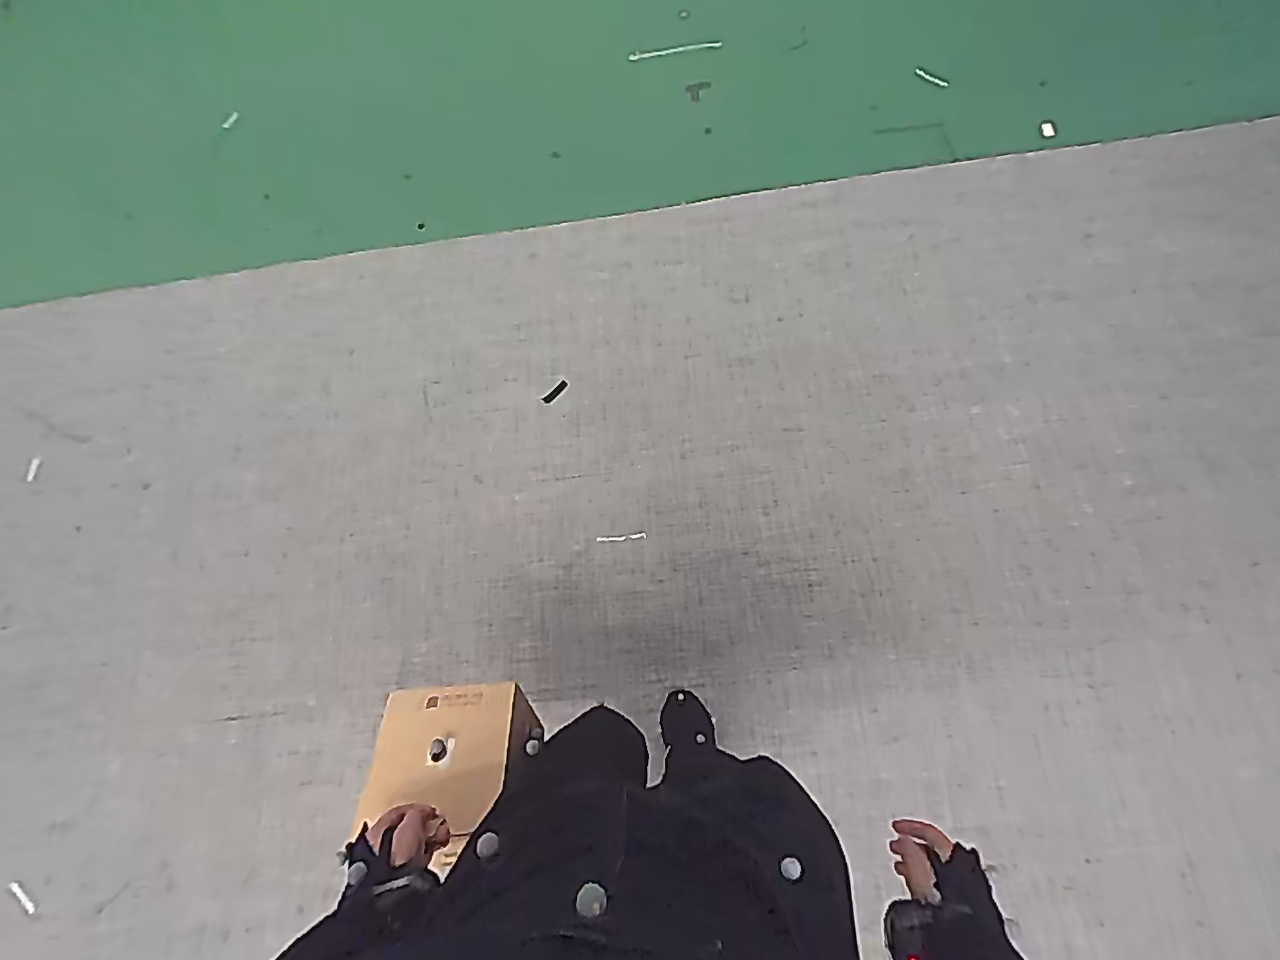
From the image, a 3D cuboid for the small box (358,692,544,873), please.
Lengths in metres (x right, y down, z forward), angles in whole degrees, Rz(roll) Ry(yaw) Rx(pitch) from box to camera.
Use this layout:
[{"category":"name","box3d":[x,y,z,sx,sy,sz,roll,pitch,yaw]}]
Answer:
[{"category":"small box","box3d":[-0.223,0.382,0.693,0.168,0.179,0.176,-7,47,1]}]
